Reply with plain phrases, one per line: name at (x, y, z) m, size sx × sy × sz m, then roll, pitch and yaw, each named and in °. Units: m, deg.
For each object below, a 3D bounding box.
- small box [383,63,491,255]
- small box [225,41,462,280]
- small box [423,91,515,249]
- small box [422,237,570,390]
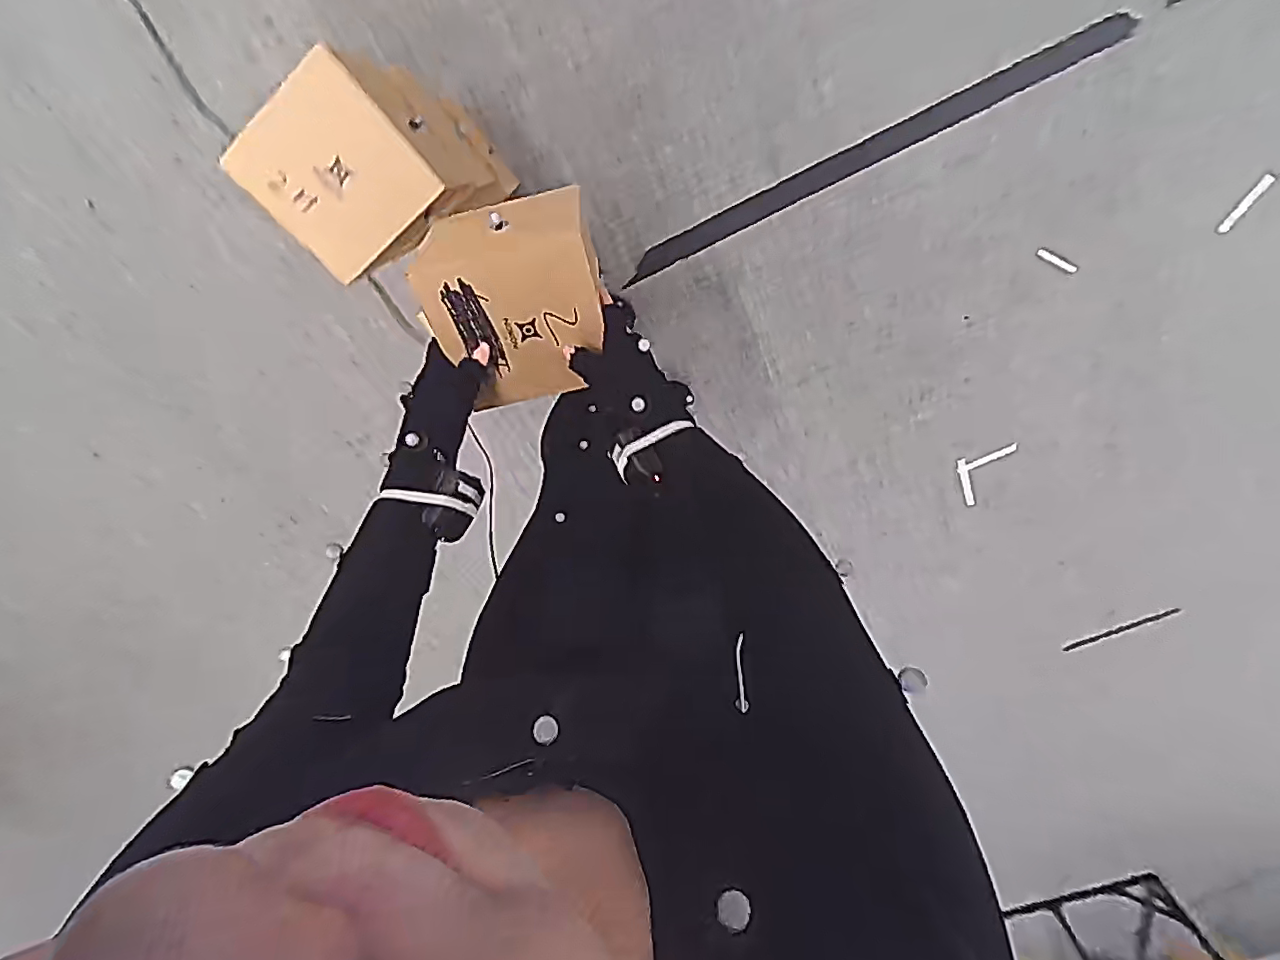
small box at (-0.345, -0.469, 0.805) m, size 0.179 × 0.176 × 0.168 m, roll -32°, pitch 120°, yaw 13°
small box at (-0.341, -0.383, 0.664) m, size 0.179 × 0.176 × 0.168 m, roll -35°, pitch 119°, yaw 16°
small box at (-0.341, -0.541, 0.955) m, size 0.179 × 0.176 × 0.168 m, roll -33°, pitch 120°, yaw 14°
small box at (-0.236, -0.292, 0.930) m, size 0.179 × 0.176 × 0.168 m, roll -30°, pitch 120°, yaw 13°
